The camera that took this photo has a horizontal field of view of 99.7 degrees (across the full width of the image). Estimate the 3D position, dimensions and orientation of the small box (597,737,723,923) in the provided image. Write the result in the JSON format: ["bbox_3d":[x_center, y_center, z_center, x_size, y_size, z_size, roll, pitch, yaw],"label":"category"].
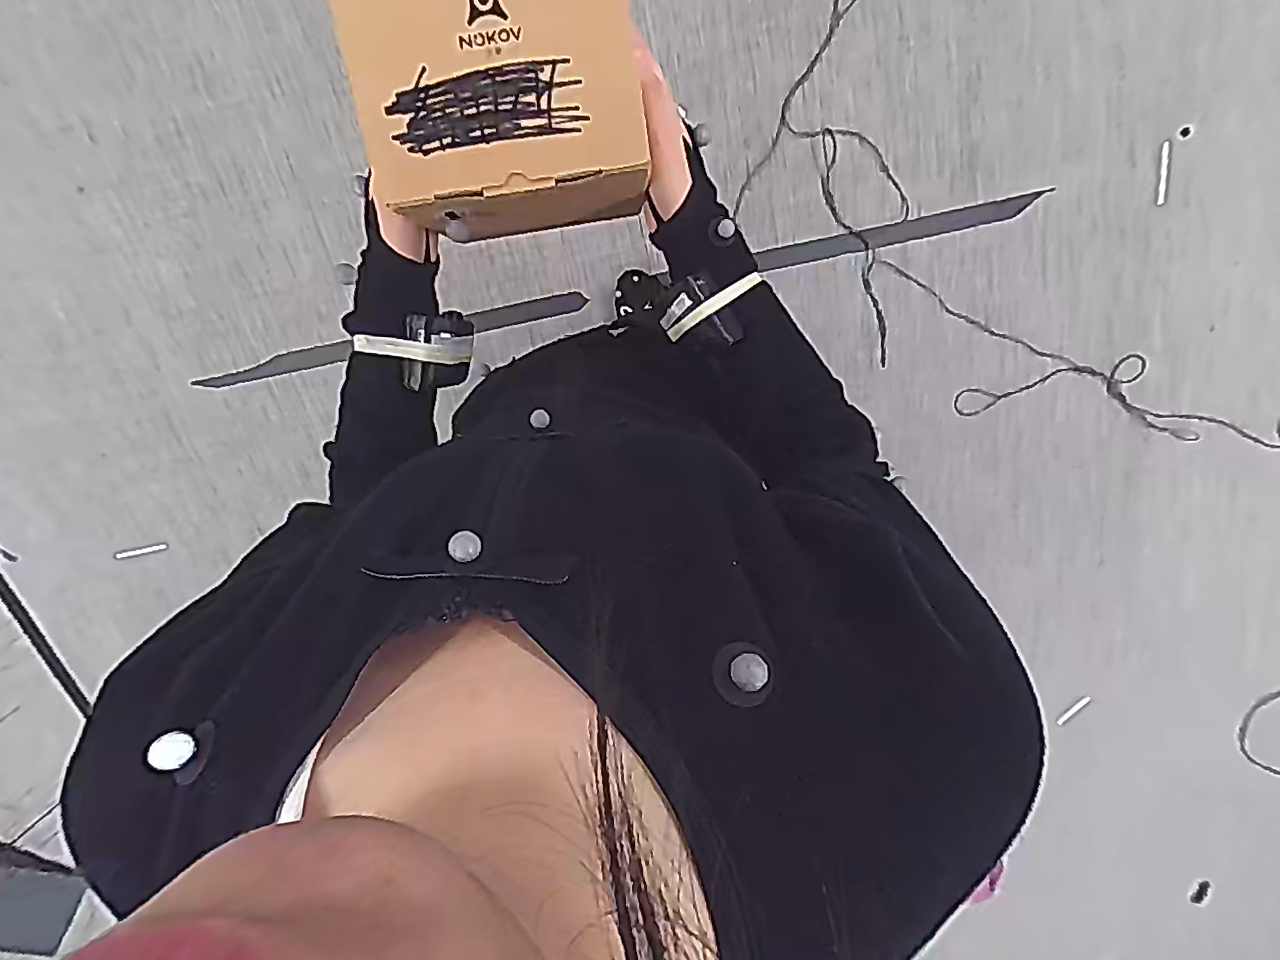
[{"bbox_3d":[0.030,0.545,0.855,0.168,0.176,0.179,-10,109,1],"label":"small box"}]
